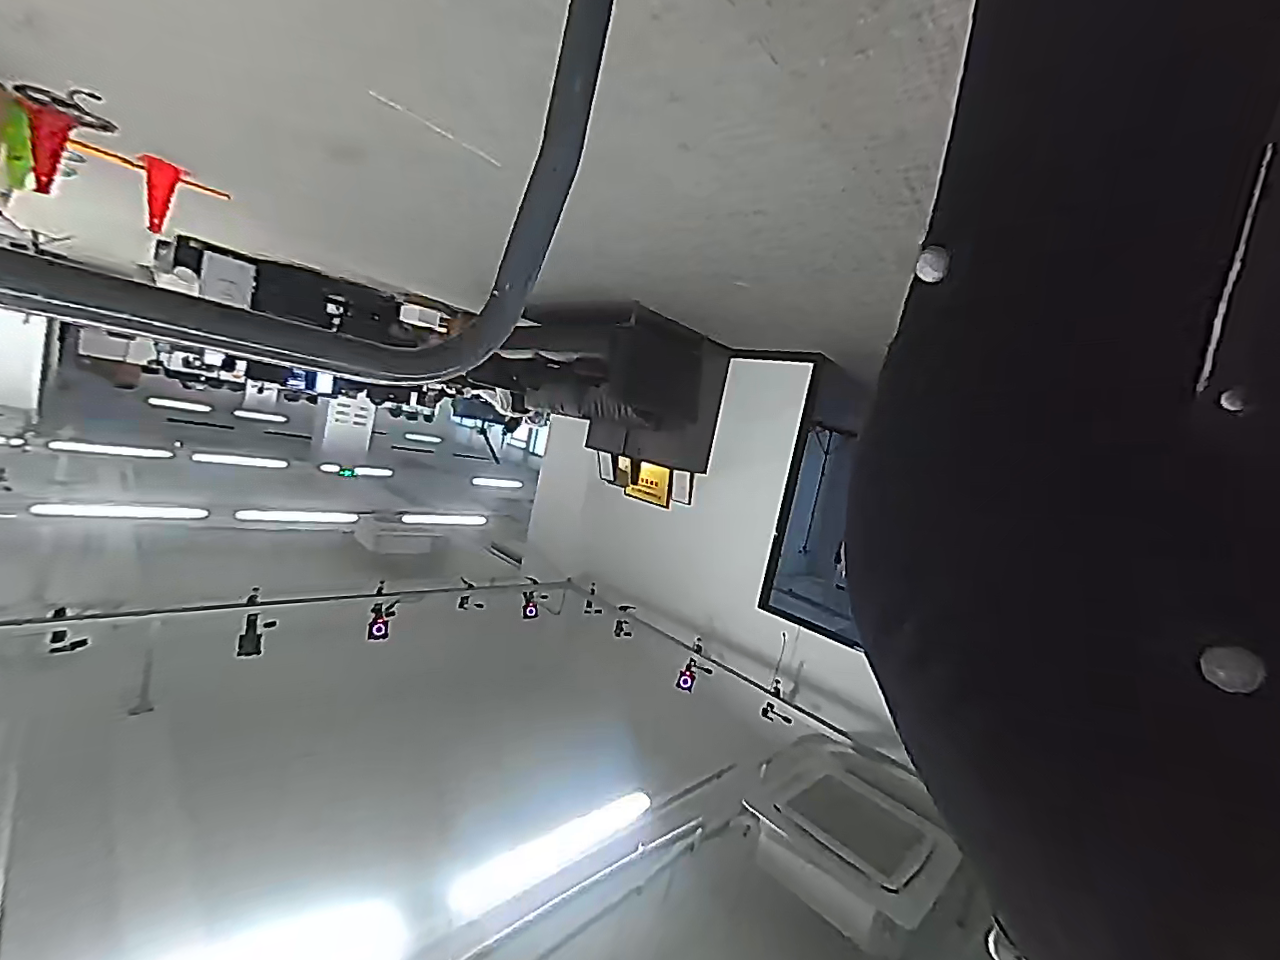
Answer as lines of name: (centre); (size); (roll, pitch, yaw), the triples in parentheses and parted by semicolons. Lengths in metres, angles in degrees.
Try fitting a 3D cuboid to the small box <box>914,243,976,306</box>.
small box: (1.105, -0.743, 1.957); (0.168, 0.176, 0.179); (13, -177, 31)
